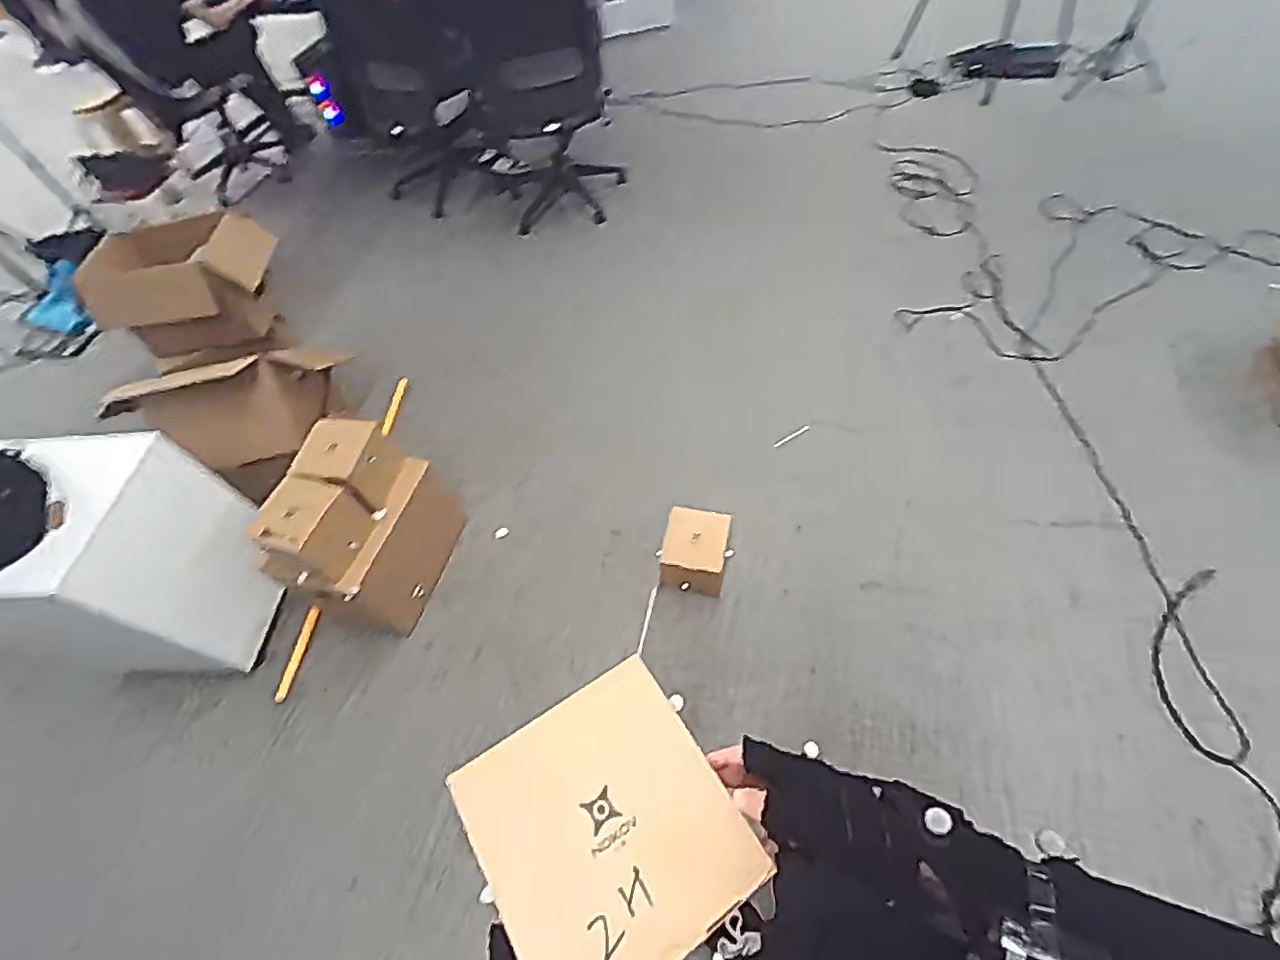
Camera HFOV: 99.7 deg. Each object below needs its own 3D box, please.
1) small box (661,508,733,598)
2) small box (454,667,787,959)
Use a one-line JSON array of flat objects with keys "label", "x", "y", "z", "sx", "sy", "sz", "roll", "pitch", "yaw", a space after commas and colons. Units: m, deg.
[{"label": "small box", "x": 0.159, "y": 0.203, "z": 1.497, "sx": 0.168, "sy": 0.176, "sz": 0.179, "roll": 8, "pitch": 58, "yaw": 12}, {"label": "small box", "x": -0.019, "y": 0.287, "z": 0.427, "sx": 0.168, "sy": 0.176, "sz": 0.179, "roll": -28, "pitch": 60, "yaw": -18}]
